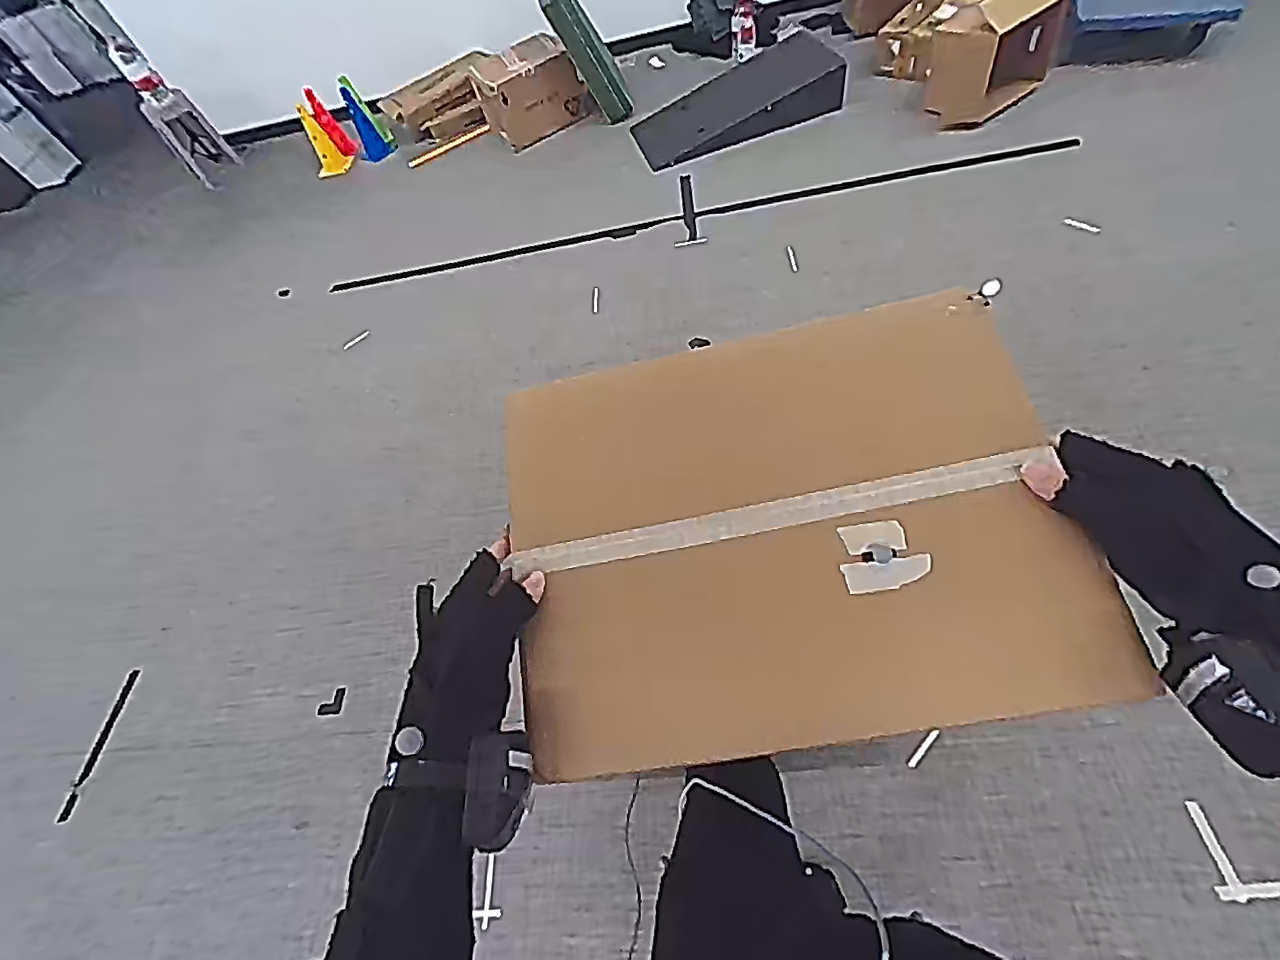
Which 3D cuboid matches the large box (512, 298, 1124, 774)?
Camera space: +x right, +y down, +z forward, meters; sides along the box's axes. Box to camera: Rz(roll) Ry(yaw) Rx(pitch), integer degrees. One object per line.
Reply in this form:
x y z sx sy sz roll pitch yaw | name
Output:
0.123 0.078 0.560 0.408 0.320 0.320 -12 70 6 | large box
